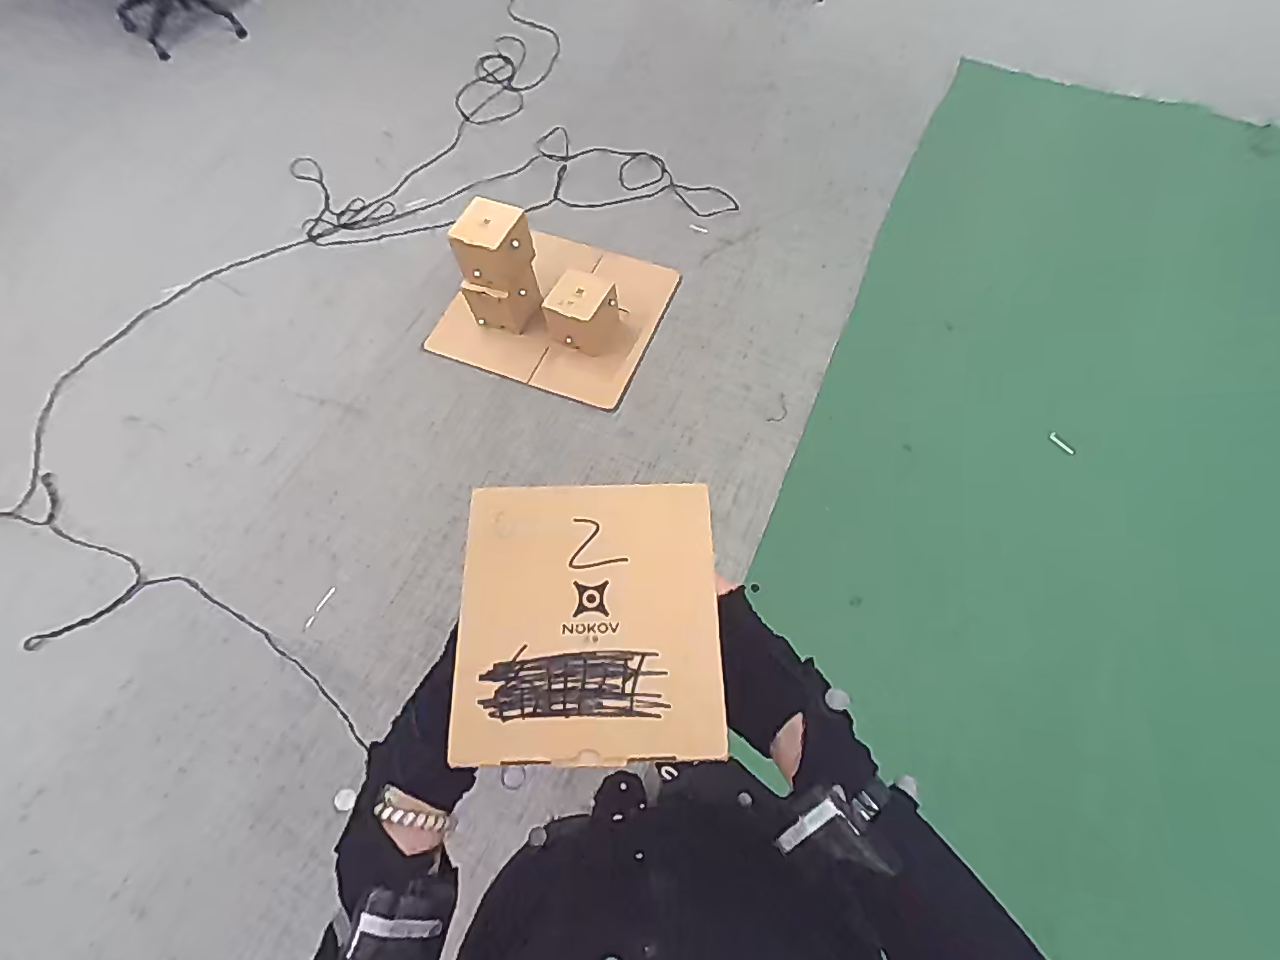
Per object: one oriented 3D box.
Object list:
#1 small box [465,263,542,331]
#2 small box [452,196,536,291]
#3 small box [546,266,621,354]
[{"bbox_3d":[-0.434,-0.615,1.759,0.168,0.176,0.179,18,67,11],"label":"small box"},{"bbox_3d":[-0.426,-0.705,1.620,0.168,0.176,0.179,20,68,11],"label":"small box"},{"bbox_3d":[-0.171,-0.535,1.712,0.168,0.176,0.179,24,70,14],"label":"small box"}]
